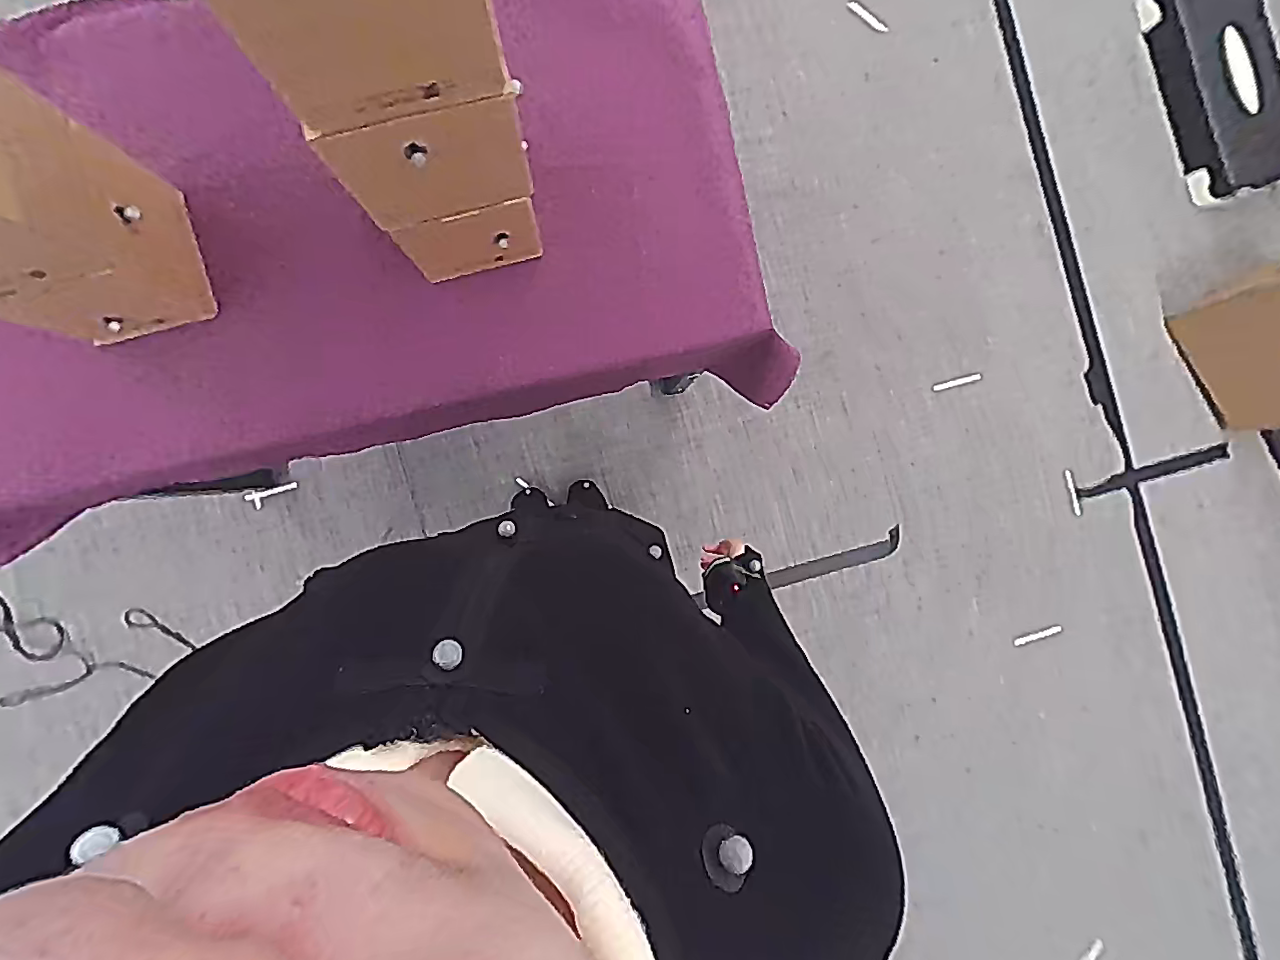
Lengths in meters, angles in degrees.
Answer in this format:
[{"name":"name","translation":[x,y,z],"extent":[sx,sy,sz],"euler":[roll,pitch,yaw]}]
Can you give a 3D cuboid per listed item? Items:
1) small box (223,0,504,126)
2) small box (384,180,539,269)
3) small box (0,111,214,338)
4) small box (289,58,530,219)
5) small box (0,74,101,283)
[{"name":"small box","translation":[-0.202,-0.385,0.358],"extent":[0.168,0.176,0.179],"euler":[-16,92,-5]},{"name":"small box","translation":[-0.233,-0.387,0.685],"extent":[0.168,0.176,0.179],"euler":[-15,92,-5]},{"name":"small box","translation":[-0.671,-0.291,0.651],"extent":[0.168,0.176,0.179],"euler":[-16,93,-5]},{"name":"small box","translation":[-0.219,-0.381,0.522],"extent":[0.179,0.176,0.168],"euler":[-16,93,-5]},{"name":"small box","translation":[-0.658,-0.289,0.487],"extent":[0.168,0.176,0.179],"euler":[-18,92,-5]}]
